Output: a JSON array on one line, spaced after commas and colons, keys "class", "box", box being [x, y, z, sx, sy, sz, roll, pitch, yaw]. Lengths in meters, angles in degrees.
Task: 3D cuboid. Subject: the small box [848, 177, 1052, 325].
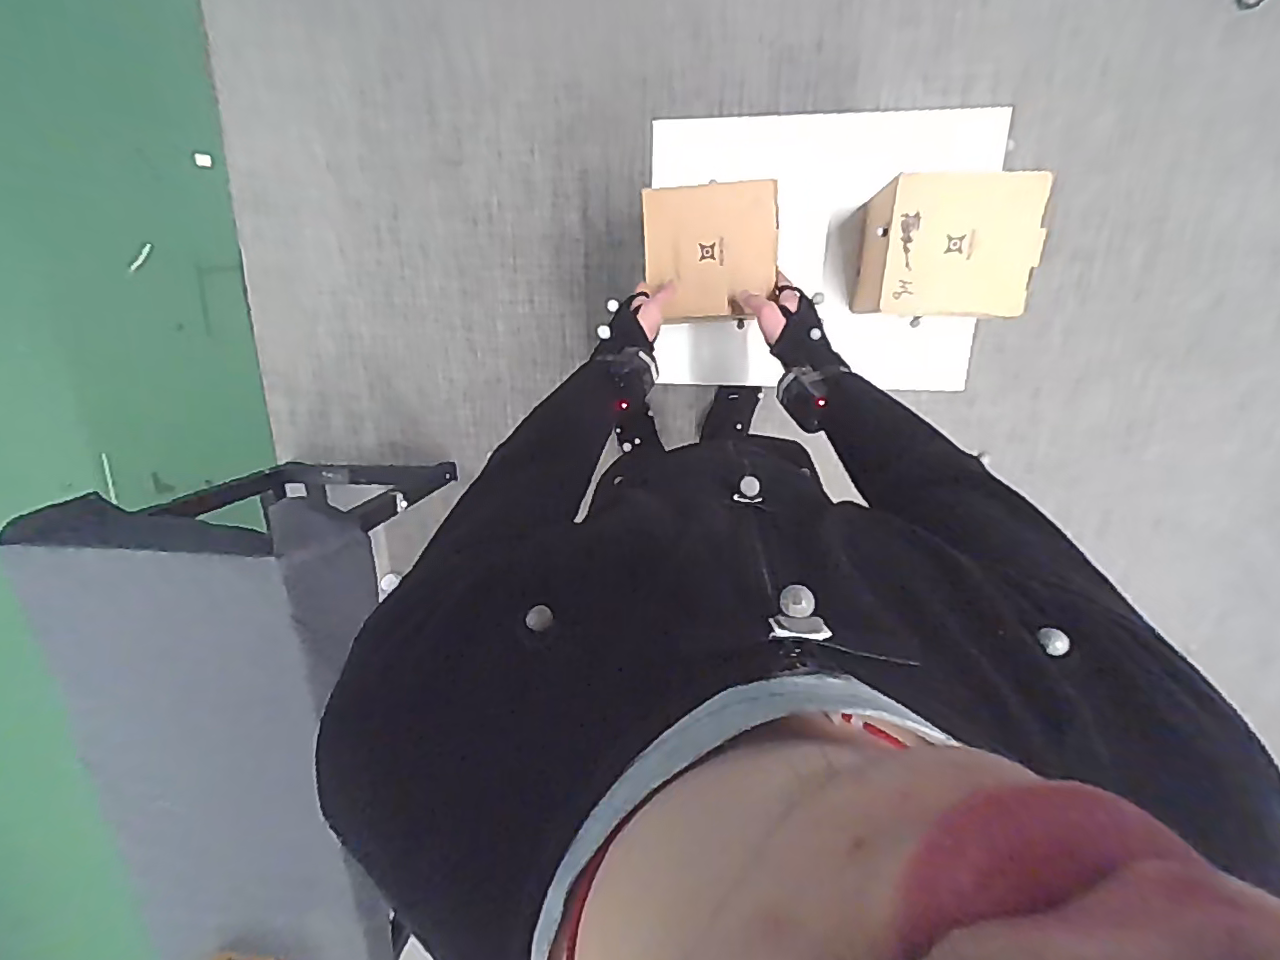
[{"class": "small box", "box": [0.407, -0.302, 0.743, 0.179, 0.176, 0.168, 3, 105, 4]}]

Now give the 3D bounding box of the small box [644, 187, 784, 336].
[{"class": "small box", "box": [0.101, -0.299, 0.771, 0.179, 0.176, 0.168, -3, 102, 6]}]
